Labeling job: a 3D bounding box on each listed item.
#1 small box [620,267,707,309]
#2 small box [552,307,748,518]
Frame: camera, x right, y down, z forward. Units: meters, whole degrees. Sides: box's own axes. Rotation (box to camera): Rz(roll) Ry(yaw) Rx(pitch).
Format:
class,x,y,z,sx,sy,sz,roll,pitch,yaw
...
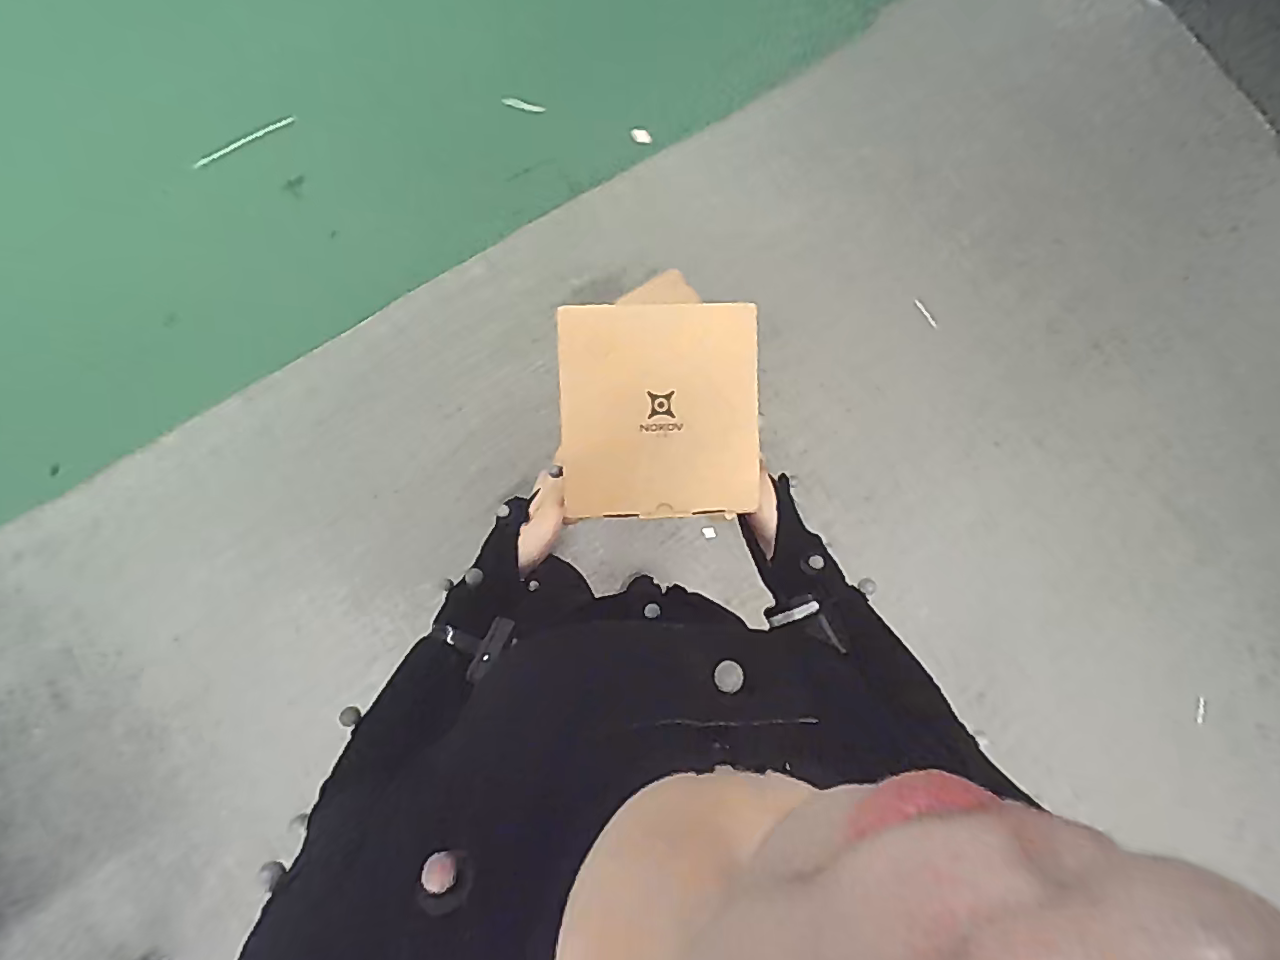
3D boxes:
class,x,y,z,sx,sy,sz,roll,pitch,yaw
small box,0.060,-0.389,1.354,0.179,0.176,0.168,-32,85,-6
small box,0.002,-0.062,0.537,0.168,0.176,0.179,-3,94,-5
